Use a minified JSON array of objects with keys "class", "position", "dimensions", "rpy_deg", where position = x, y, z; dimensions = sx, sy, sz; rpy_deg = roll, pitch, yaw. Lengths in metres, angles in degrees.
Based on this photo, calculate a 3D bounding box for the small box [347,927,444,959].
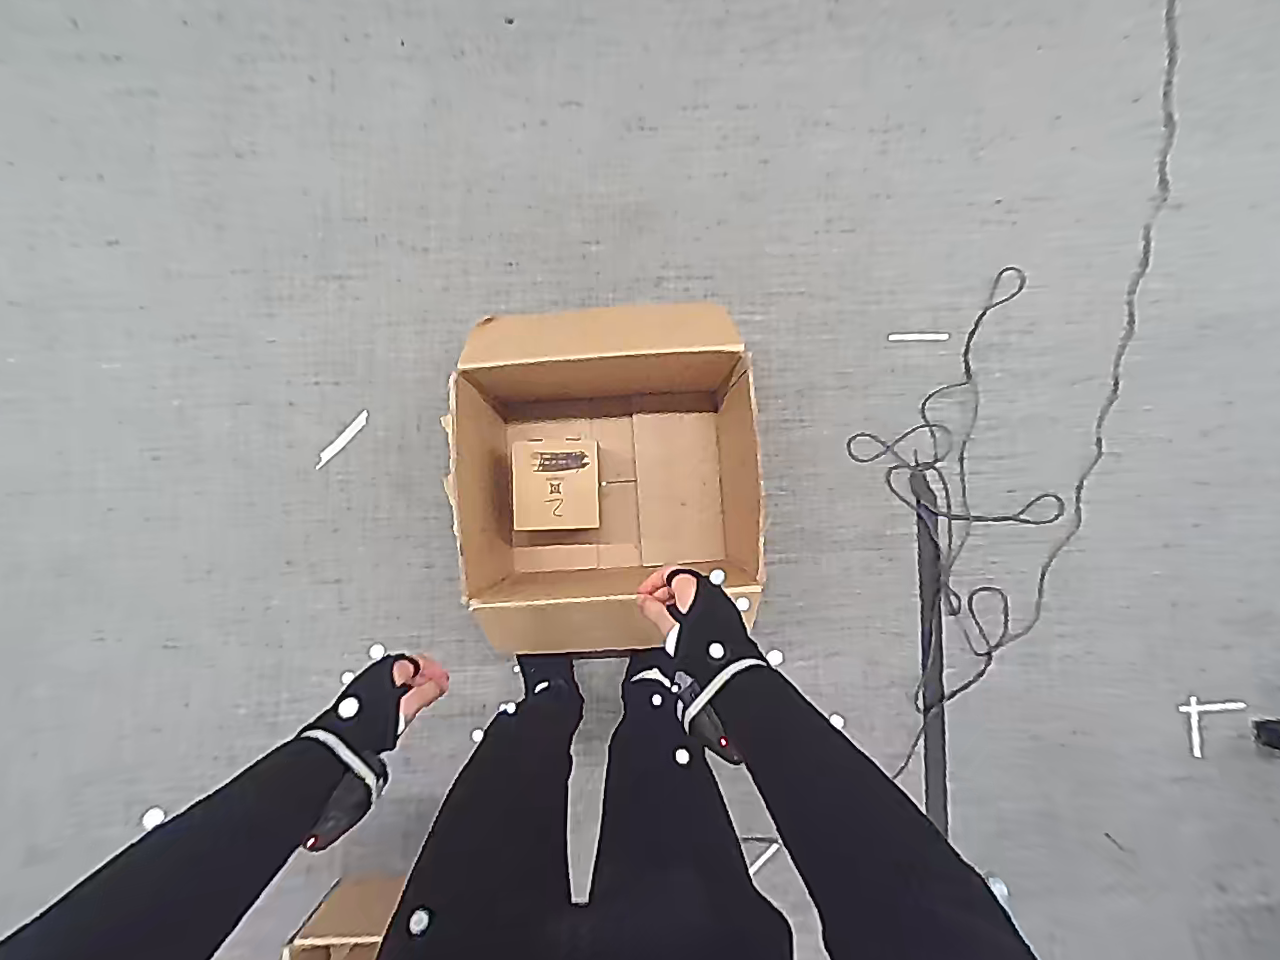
[{"class":"small box","position":[-0.488,1.006,1.041],"dimensions":[0.179,0.176,0.168],"rpy_deg":[2,88,-3]}]
